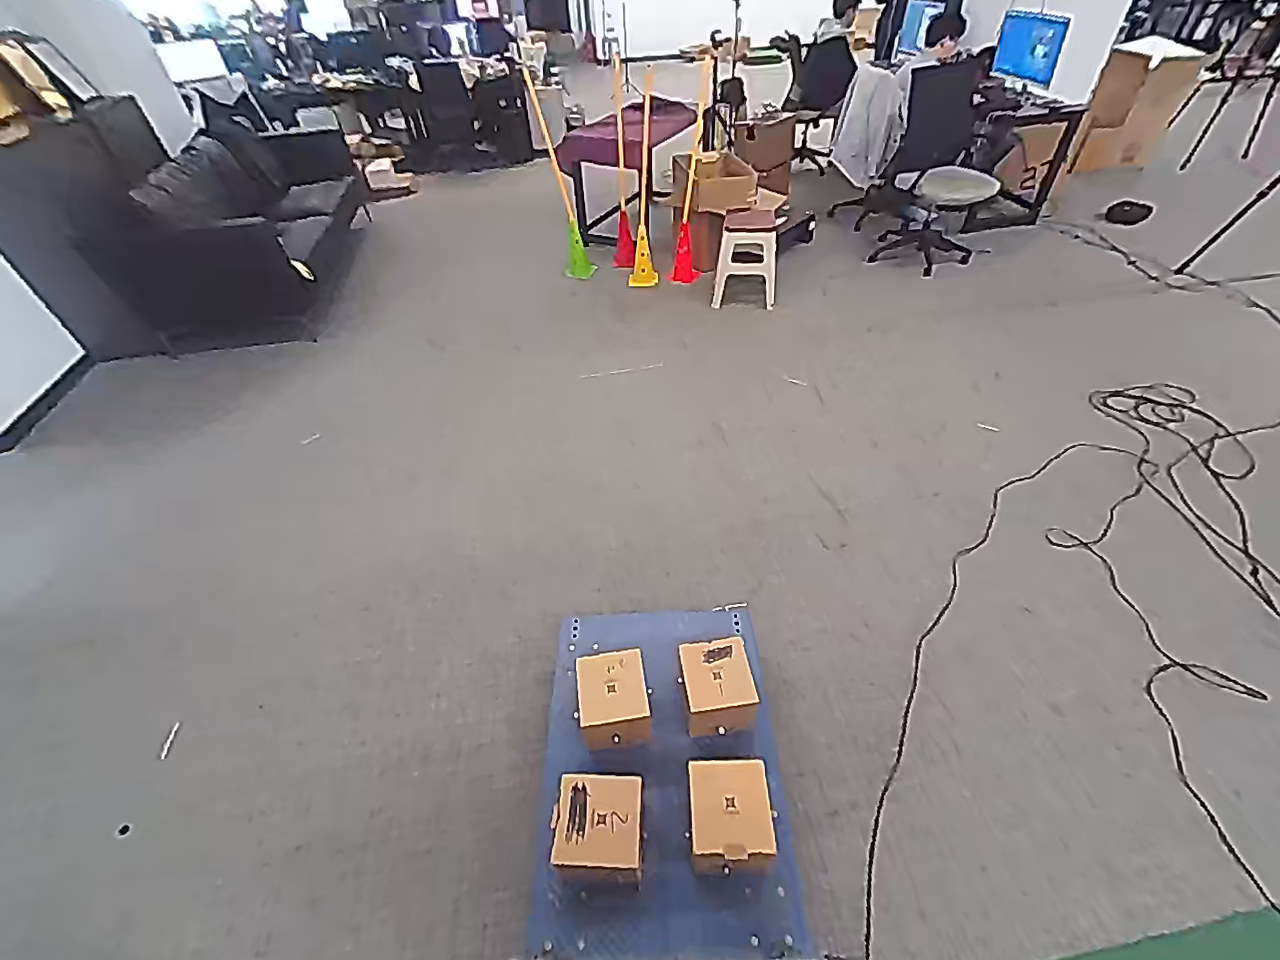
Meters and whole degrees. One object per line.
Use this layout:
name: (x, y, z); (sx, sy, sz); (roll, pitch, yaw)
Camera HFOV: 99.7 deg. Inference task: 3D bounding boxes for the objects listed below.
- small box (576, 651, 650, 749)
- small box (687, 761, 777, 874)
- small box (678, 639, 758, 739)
small box: (-0.068, 0.560, 1.363); (0.168, 0.176, 0.179); (-7, 45, -5)
small box: (0.190, 0.734, 1.175); (0.168, 0.176, 0.179); (-2, 45, 1)
small box: (0.190, 0.532, 1.377); (0.168, 0.176, 0.179); (-7, 46, -3)
